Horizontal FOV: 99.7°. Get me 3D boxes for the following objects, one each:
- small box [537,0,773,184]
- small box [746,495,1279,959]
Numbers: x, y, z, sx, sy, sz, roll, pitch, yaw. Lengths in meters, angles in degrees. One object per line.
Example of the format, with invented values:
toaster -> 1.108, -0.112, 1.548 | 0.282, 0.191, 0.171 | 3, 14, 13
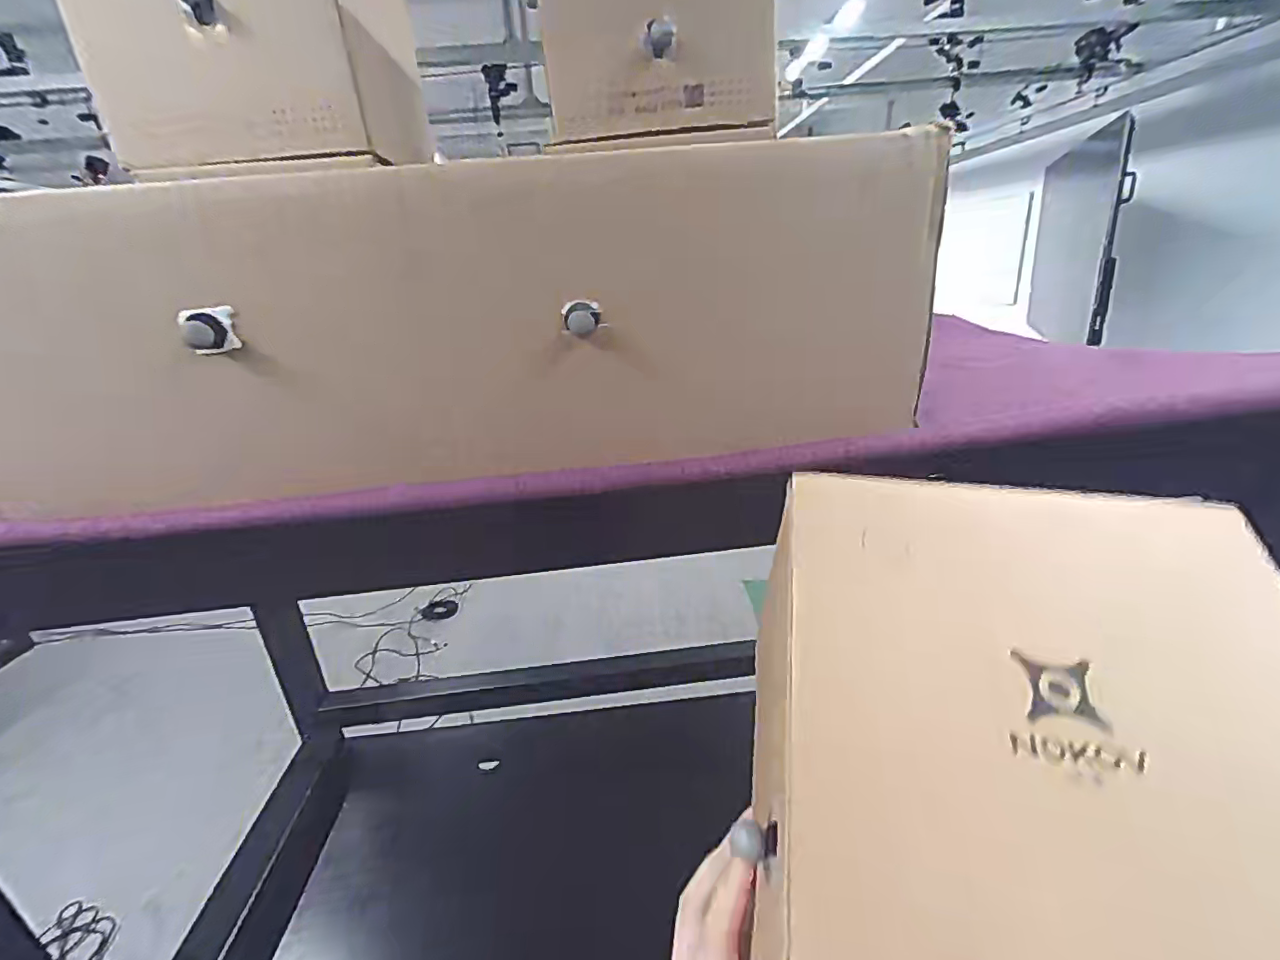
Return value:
small box -> 0.008, -0.357, 0.448 | 0.168, 0.176, 0.179 | -7, 21, 0
small box -> 0.137, 0.131, 0.232 | 0.168, 0.176, 0.179 | 5, 50, 11
